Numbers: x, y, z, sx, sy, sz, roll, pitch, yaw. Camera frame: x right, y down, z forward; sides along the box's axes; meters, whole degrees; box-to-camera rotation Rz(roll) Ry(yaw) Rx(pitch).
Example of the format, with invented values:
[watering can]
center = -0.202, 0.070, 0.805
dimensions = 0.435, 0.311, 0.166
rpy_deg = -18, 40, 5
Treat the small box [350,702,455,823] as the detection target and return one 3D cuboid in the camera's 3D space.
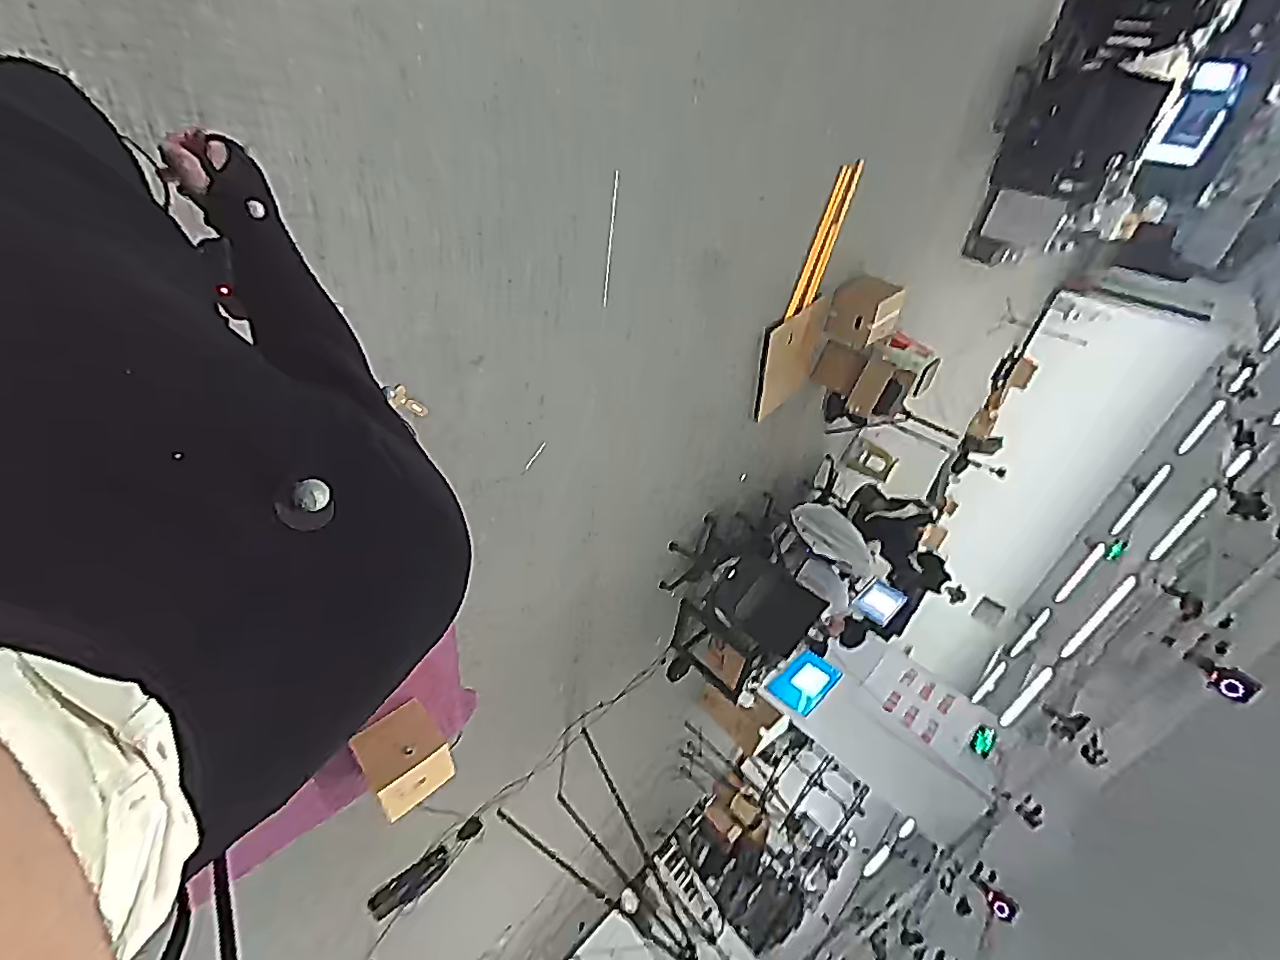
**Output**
[small box]
center = -0.593, 0.700, 1.358
dimensions = 0.179, 0.176, 0.168
rpy_deg = -28, 138, -37
